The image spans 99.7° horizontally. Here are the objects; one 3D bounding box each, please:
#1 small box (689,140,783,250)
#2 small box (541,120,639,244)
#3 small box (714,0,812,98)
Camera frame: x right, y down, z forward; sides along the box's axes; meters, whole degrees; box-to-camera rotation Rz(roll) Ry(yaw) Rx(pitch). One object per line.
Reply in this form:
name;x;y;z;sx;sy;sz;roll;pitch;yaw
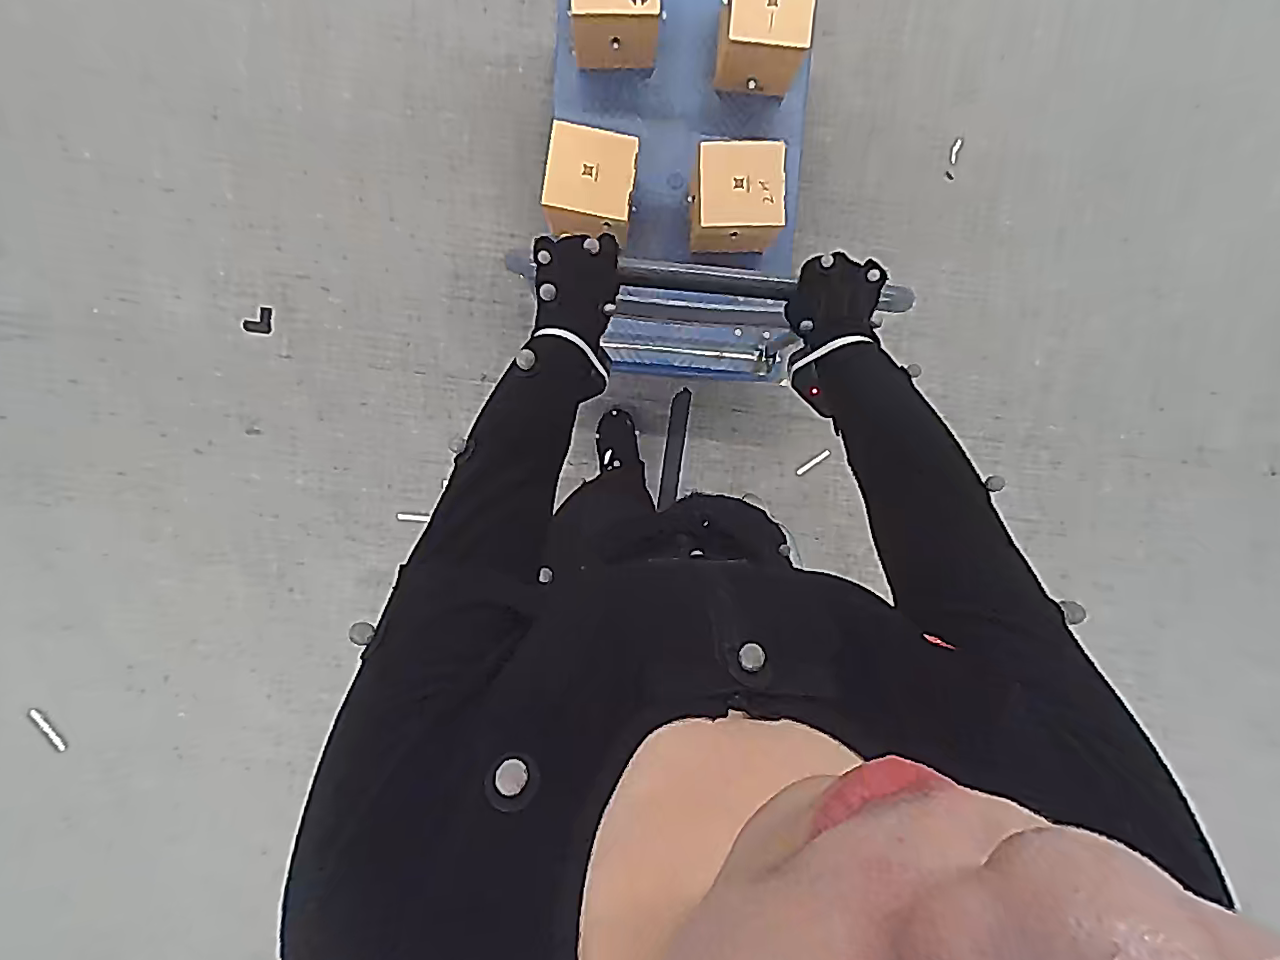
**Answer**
small box;0.201;-0.610;1.176;0.179;0.176;0.168;-1;96;-2
small box;-0.106;-0.628;1.162;0.179;0.176;0.168;9;95;-5
small box;0.256;-0.959;1.144;0.168;0.176;0.179;4;97;-3
